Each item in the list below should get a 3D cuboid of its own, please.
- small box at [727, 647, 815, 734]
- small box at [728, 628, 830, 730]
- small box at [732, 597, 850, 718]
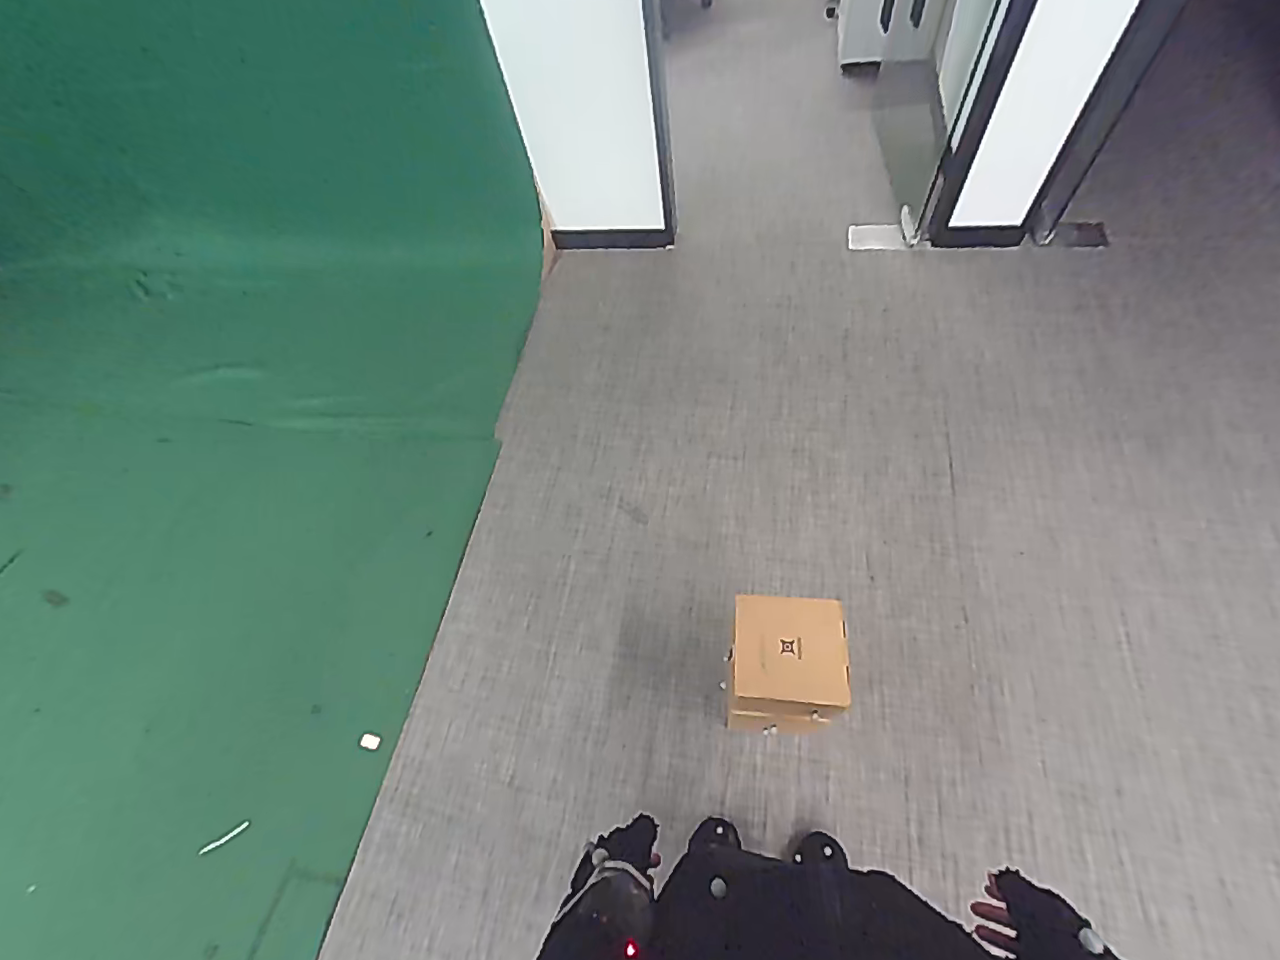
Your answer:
[{"bbox_3d":[0.290,0.473,1.217,0.179,0.176,0.168,-3,60,6],"label":"small box"},{"bbox_3d":[0.268,0.396,1.075,0.179,0.176,0.168,2,61,9],"label":"small box"},{"bbox_3d":[0.251,0.311,0.937,0.179,0.176,0.168,0,59,10],"label":"small box"}]
